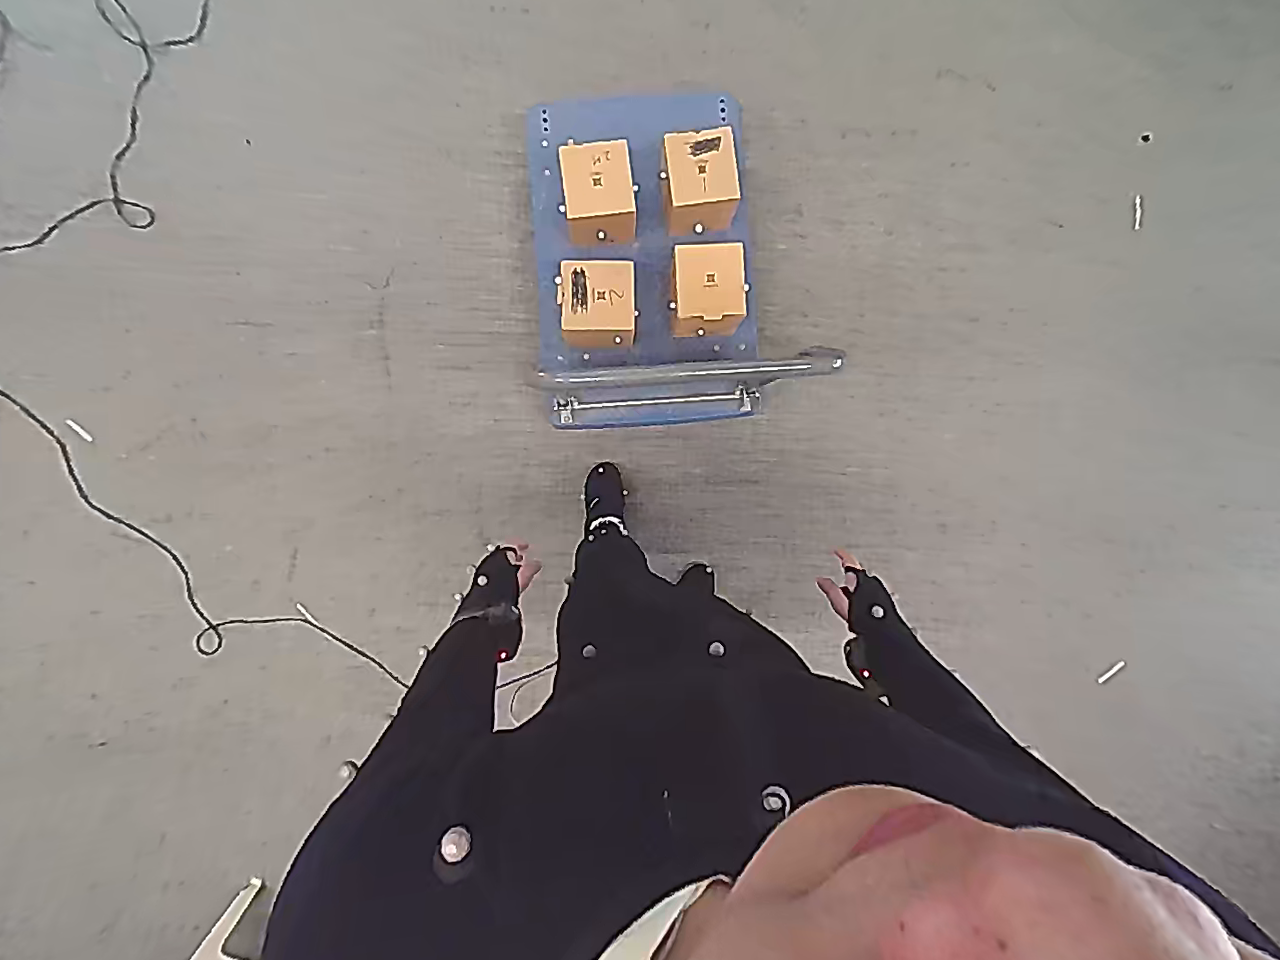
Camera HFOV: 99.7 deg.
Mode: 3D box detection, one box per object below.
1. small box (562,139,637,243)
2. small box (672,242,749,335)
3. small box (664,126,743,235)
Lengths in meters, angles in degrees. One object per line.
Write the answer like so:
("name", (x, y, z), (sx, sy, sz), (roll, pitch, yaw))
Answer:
("small box", (-0.096, -0.713, 1.355), (0.168, 0.176, 0.179), (-7, 90, -2))
("small box", (0.173, -0.477, 1.363), (0.168, 0.176, 0.179), (-3, 90, -2))
("small box", (0.154, -0.747, 1.361), (0.168, 0.176, 0.179), (-7, 91, 0))
